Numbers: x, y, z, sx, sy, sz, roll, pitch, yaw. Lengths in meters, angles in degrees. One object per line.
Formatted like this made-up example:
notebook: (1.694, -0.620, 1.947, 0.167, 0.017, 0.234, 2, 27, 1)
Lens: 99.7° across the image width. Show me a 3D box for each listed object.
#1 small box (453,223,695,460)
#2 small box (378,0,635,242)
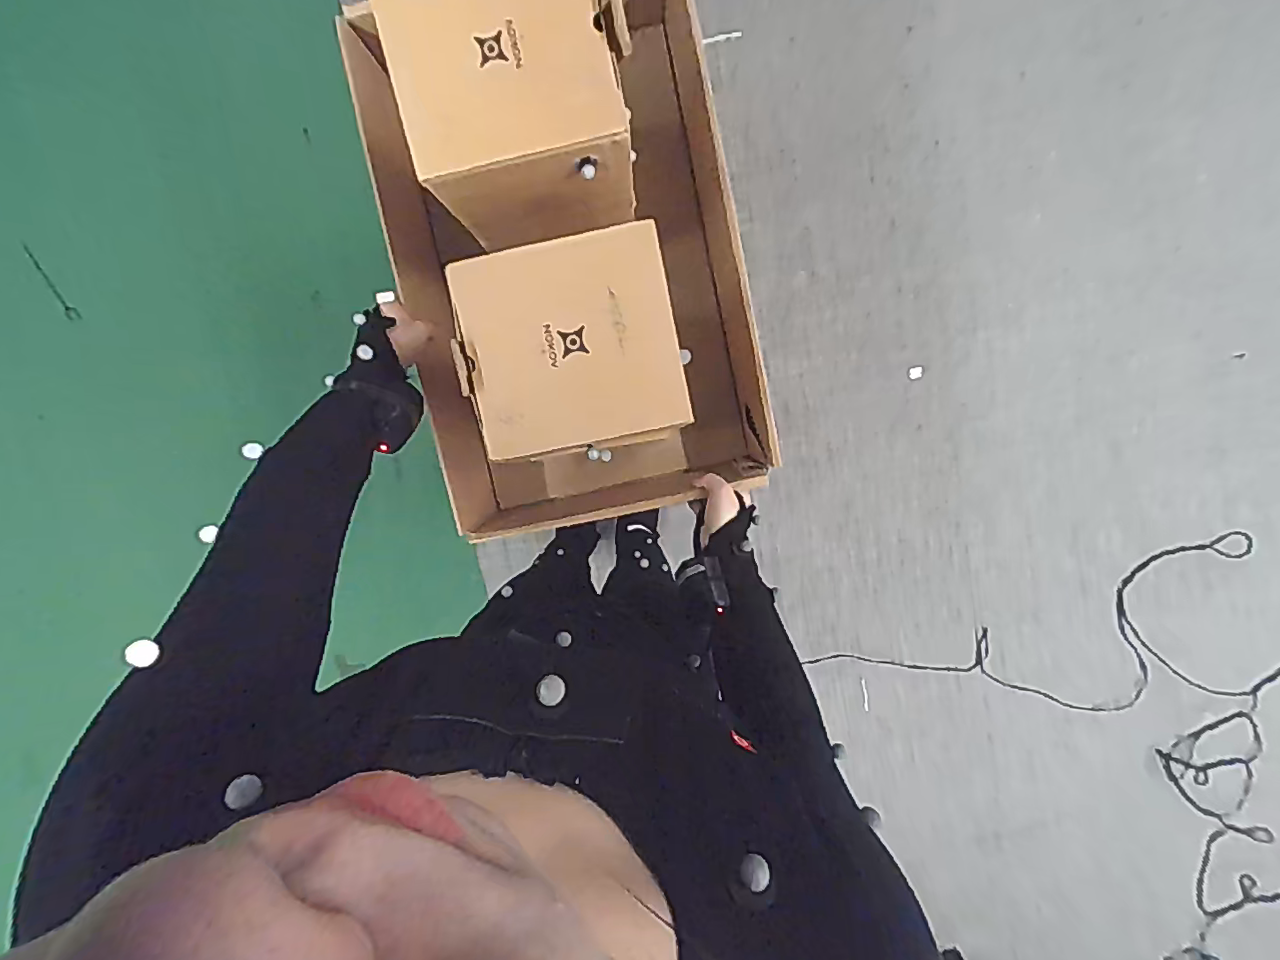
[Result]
small box: (-0.051, -0.117, 0.521, 0.179, 0.176, 0.168, -12, 96, 2)
small box: (-0.105, -0.343, 0.501, 0.179, 0.176, 0.168, -13, 97, 1)
